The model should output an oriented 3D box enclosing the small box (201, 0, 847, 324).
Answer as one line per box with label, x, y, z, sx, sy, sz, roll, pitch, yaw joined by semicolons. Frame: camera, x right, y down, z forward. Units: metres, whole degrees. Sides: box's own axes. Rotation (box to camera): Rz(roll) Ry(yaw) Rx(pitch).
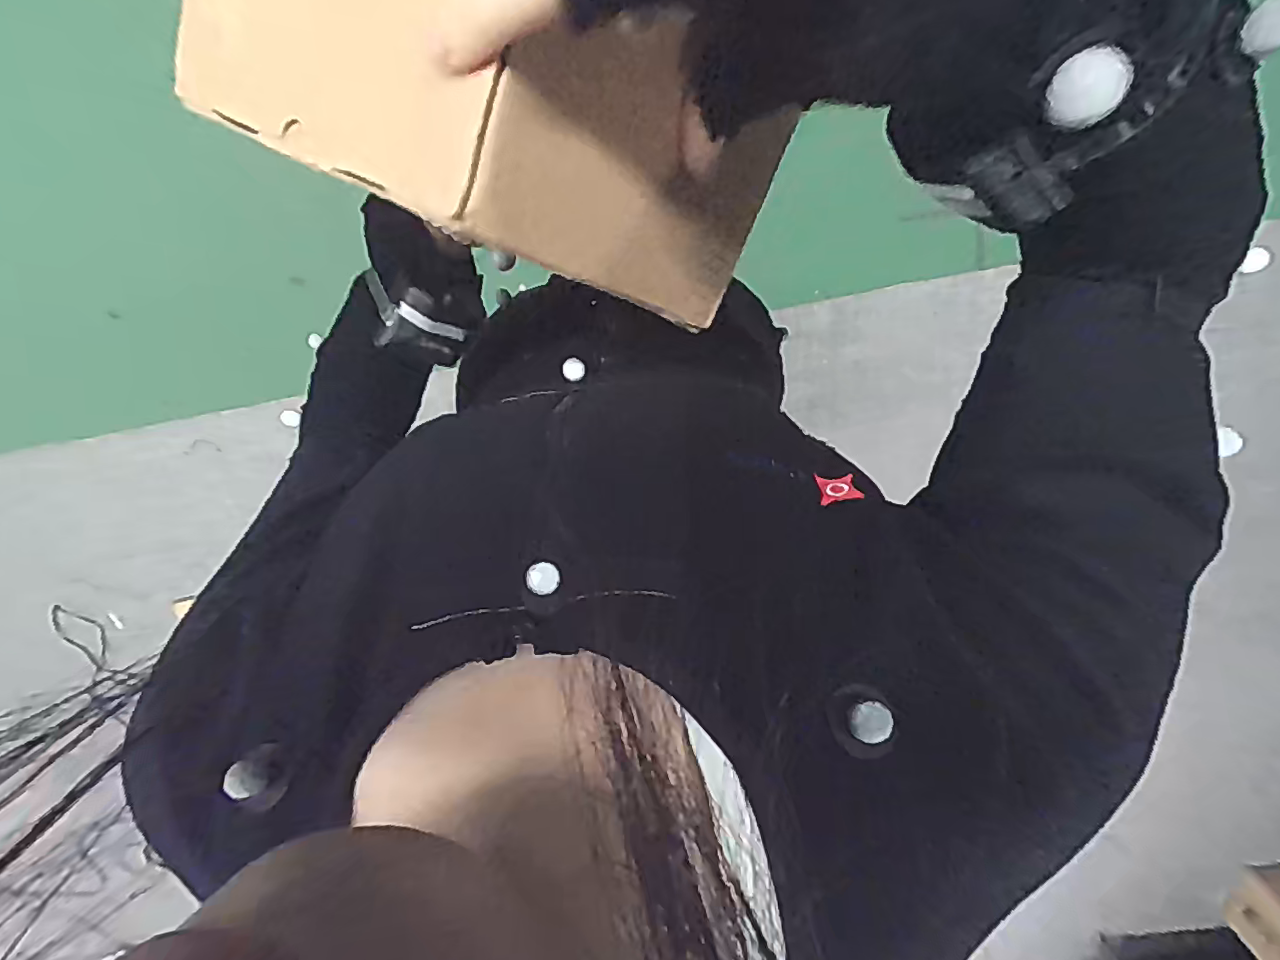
small box;-0.033;-0.186;0.223;0.168;0.176;0.179;34;111;24
